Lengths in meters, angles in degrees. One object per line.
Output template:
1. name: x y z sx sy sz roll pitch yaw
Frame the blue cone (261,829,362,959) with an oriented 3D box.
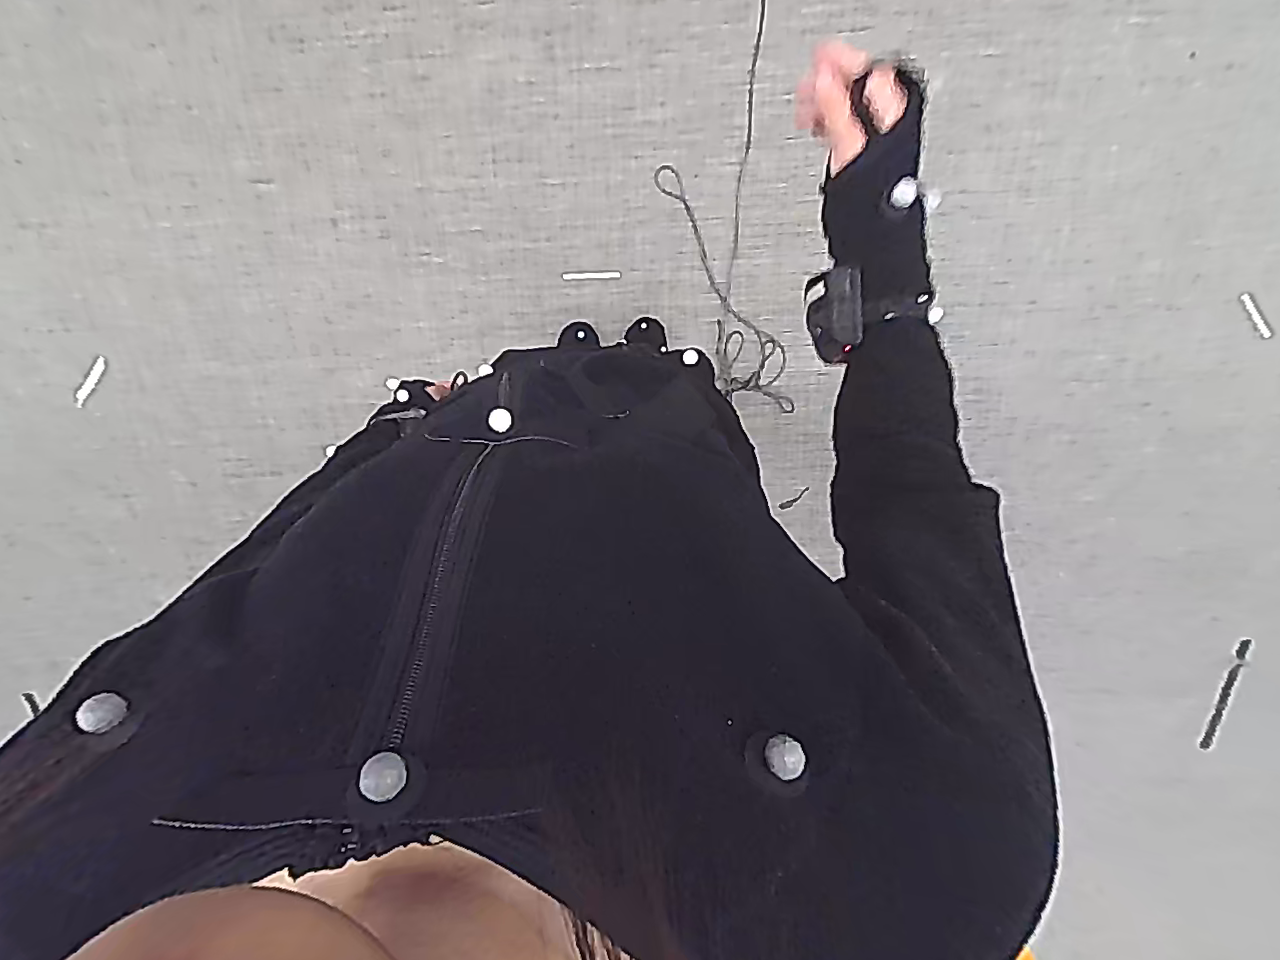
1. blue cone: -1.064 1.336 1.714 0.193 0.380 0.192 1 107 0
